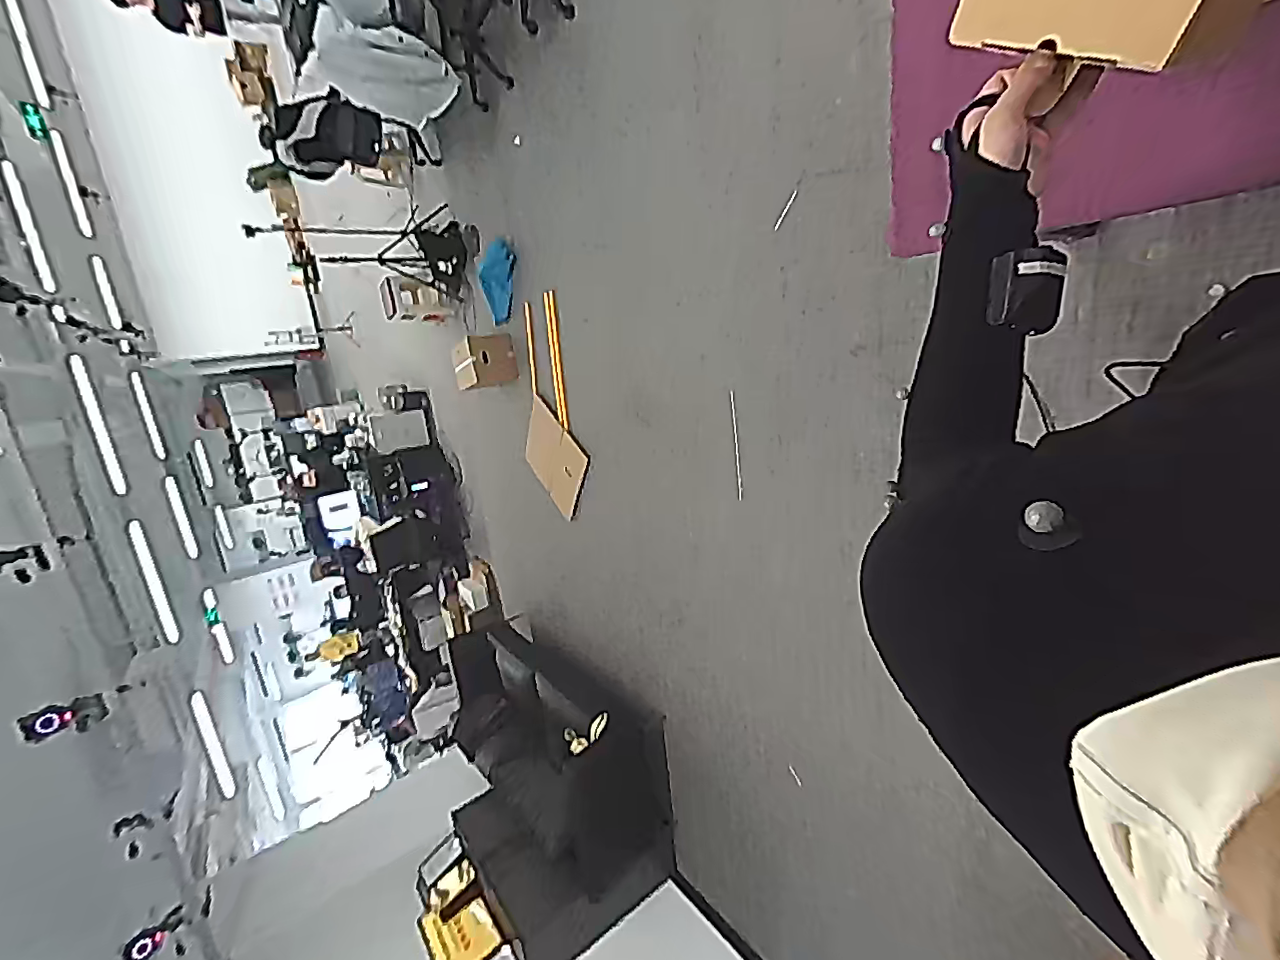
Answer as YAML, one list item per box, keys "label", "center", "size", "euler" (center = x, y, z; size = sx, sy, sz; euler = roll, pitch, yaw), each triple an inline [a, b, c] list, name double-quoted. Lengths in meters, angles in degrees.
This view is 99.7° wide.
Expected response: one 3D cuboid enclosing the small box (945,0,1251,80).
- label: "small box"
  center: [0.381, -0.427, 0.407]
  size: [0.168, 0.176, 0.179]
  euler: [41, 146, 32]
